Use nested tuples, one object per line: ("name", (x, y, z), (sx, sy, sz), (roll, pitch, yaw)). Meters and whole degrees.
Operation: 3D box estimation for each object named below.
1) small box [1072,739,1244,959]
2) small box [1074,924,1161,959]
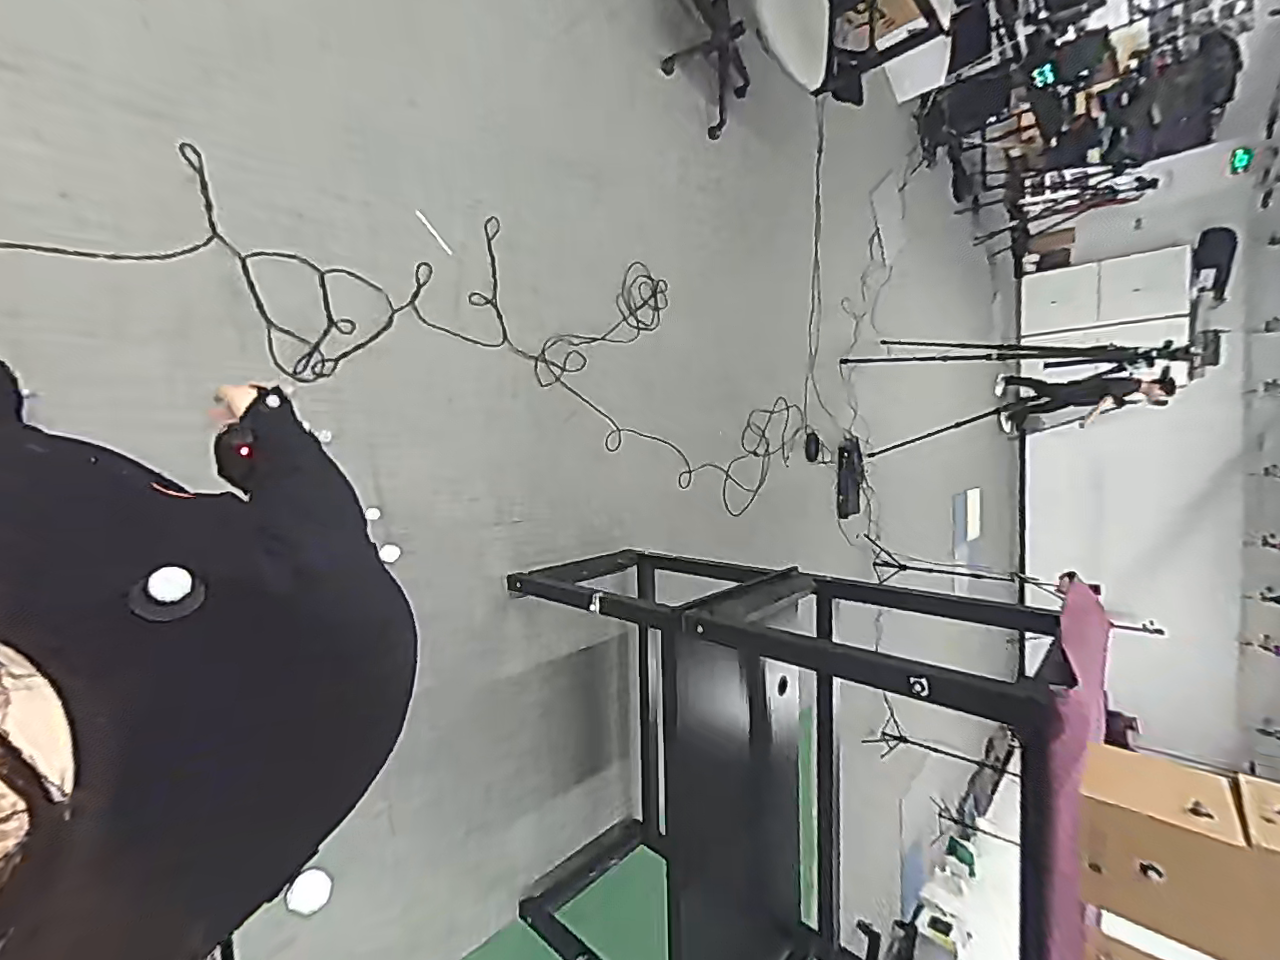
("small box", (0.741, 0.512, 0.784), (0.179, 0.176, 0.168), (-8, 97, -46))
("small box", (0.773, 0.850, 0.827), (0.168, 0.176, 0.179), (-7, 95, -47))
